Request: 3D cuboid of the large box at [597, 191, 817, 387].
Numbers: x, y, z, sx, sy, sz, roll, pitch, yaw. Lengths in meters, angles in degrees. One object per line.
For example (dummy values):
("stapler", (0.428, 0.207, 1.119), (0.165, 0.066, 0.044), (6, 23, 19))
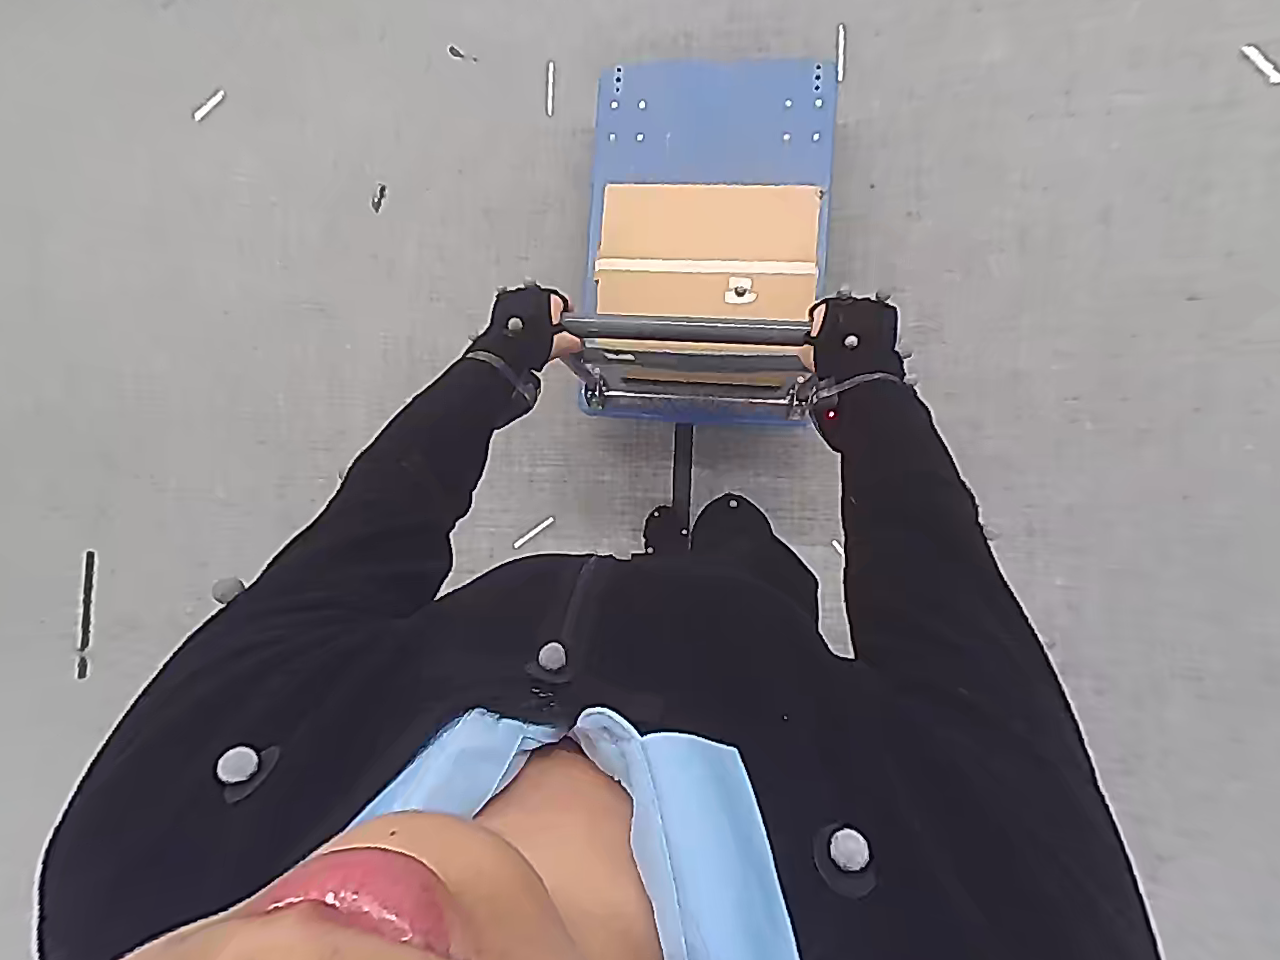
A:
("large box", (0.133, -0.386, 1.160), (0.408, 0.320, 0.320), (4, 90, 5))
